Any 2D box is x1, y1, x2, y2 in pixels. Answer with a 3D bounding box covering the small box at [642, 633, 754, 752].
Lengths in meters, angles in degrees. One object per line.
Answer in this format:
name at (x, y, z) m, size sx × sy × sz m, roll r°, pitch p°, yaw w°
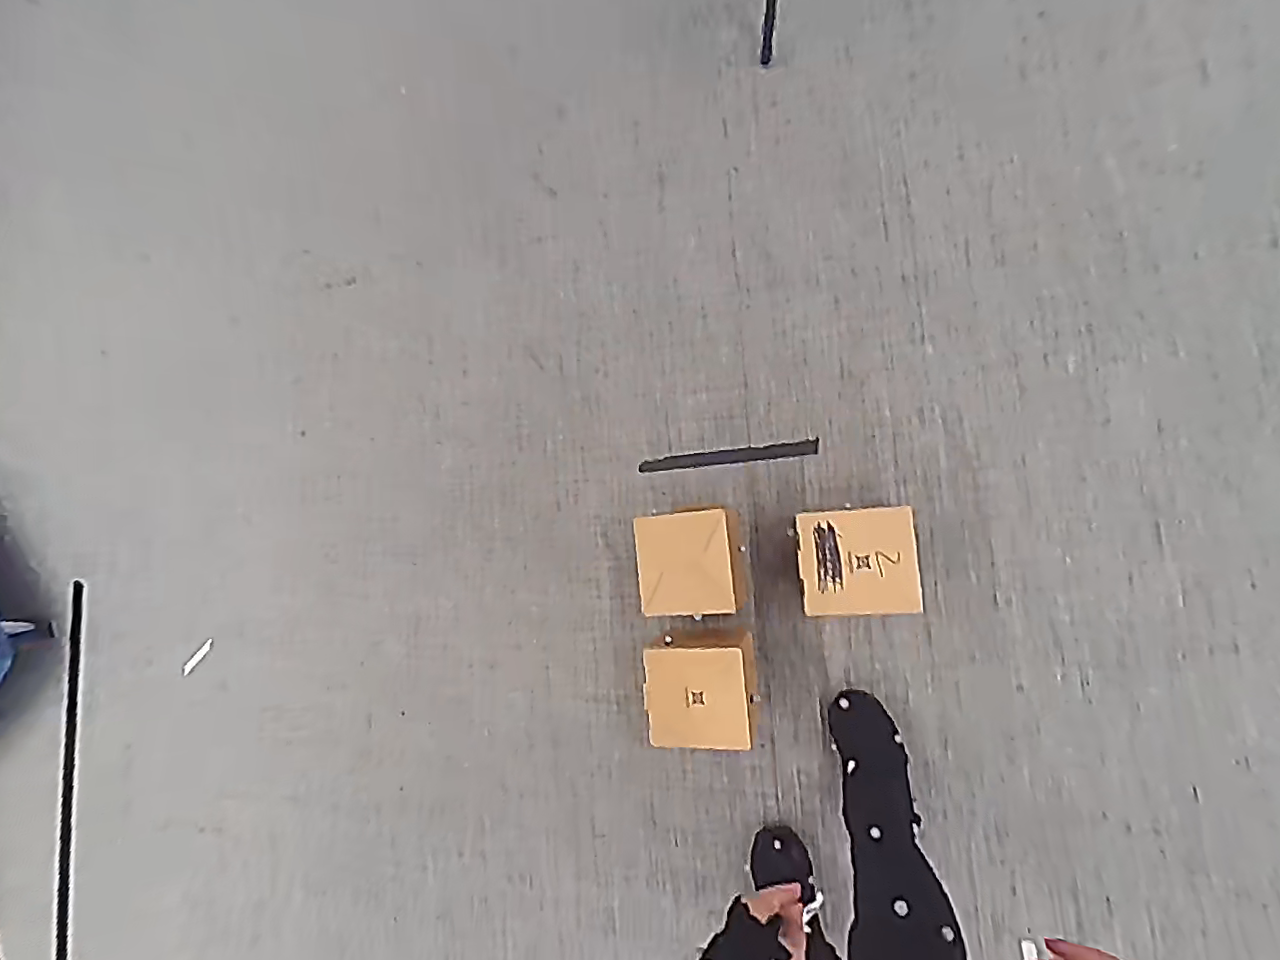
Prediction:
small box at (0.113, 0.380, 0.994) m, size 0.179 × 0.176 × 0.168 m, roll -6°, pitch 84°, yaw 17°
